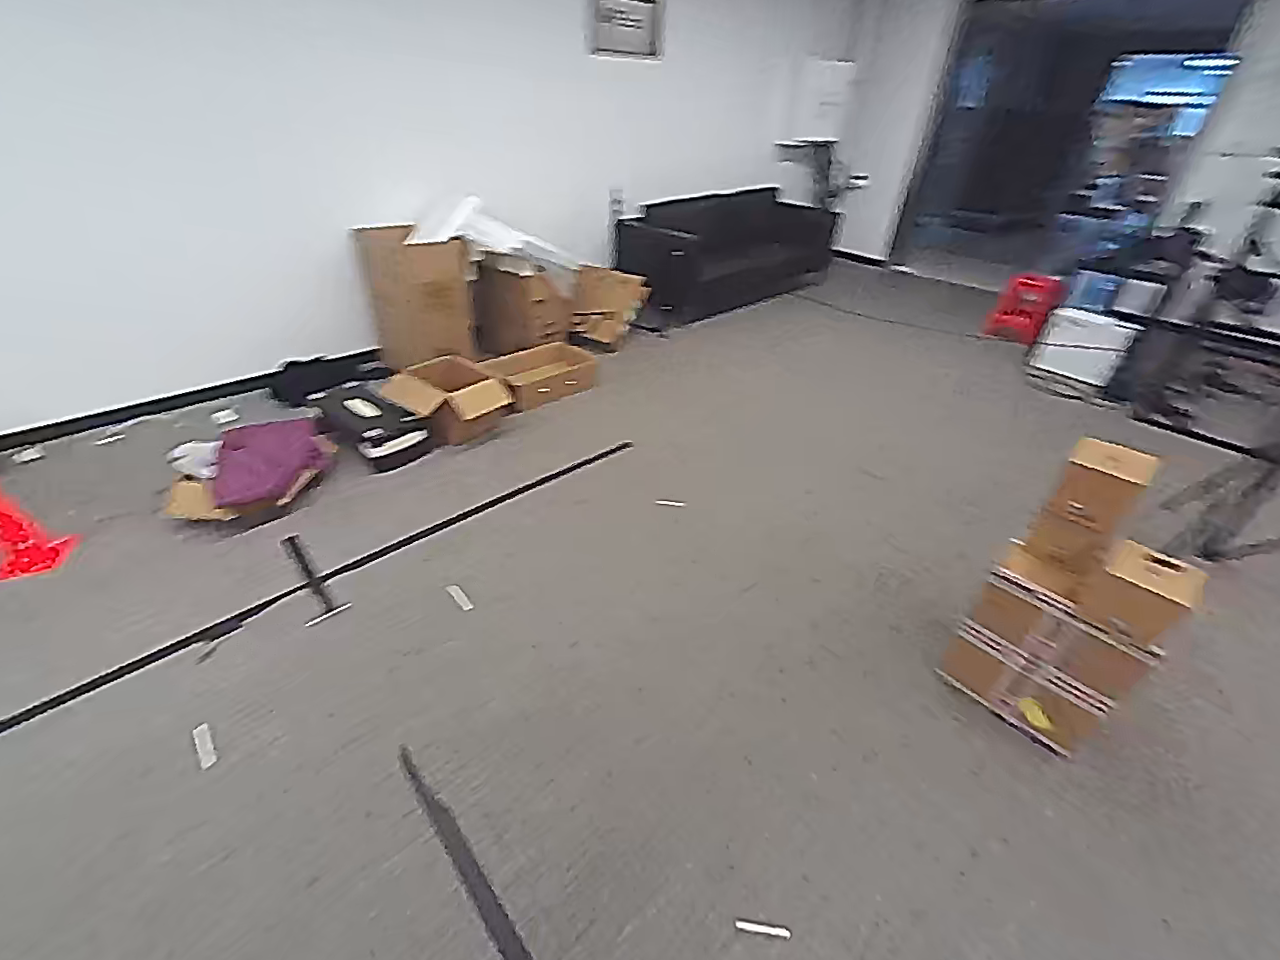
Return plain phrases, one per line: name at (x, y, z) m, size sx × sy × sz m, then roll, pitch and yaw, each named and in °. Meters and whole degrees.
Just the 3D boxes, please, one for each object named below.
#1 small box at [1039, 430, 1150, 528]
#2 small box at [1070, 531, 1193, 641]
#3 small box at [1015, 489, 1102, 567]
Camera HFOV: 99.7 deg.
small box at (1.216, -0.004, 1.455) m, size 0.179 × 0.176 × 0.168 m, roll -31°, pitch 45°, yaw -34°
small box at (1.231, 0.266, 1.363) m, size 0.168 × 0.176 × 0.179 m, roll 31°, pitch 47°, yaw 34°
small box at (1.228, 0.117, 1.566) m, size 0.179 × 0.176 × 0.168 m, roll -30°, pitch 45°, yaw -34°
